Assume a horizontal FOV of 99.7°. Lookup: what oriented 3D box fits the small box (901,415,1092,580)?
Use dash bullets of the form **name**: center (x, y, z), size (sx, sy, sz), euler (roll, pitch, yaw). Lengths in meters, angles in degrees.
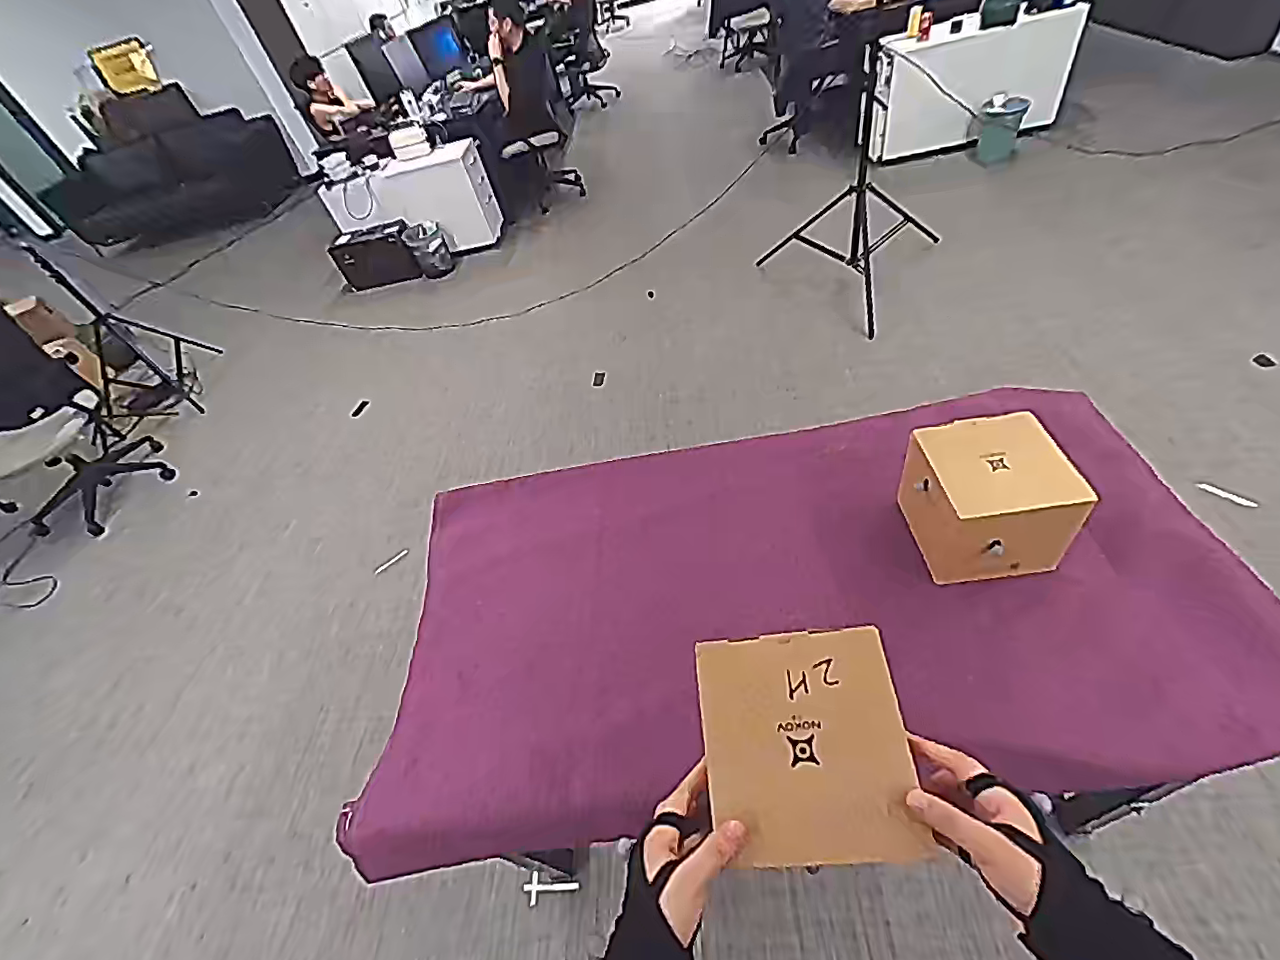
- **small box**: center (0.505, 0.034, 0.800), size (0.168, 0.176, 0.179), euler (-9, 46, 8)
